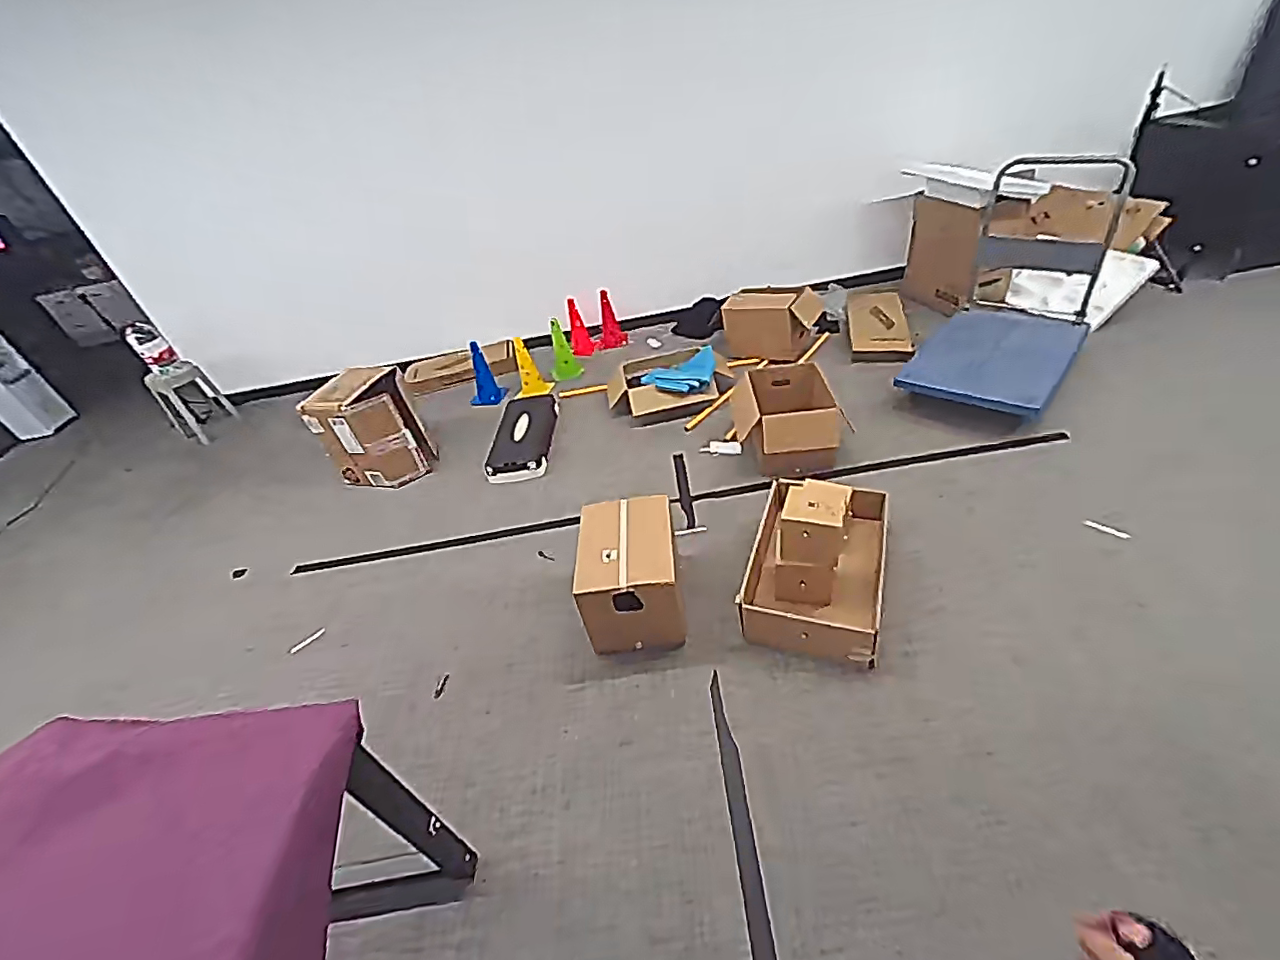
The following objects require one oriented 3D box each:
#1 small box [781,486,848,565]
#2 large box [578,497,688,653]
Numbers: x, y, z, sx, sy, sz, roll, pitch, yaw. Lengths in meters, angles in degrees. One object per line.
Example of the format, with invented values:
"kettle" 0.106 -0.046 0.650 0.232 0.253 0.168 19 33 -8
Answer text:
"small box" 0.540 0.143 1.676 0.179 0.176 0.168 8 40 23
"large box" -0.019 0.318 1.837 0.320 0.320 0.408 -9 39 6
